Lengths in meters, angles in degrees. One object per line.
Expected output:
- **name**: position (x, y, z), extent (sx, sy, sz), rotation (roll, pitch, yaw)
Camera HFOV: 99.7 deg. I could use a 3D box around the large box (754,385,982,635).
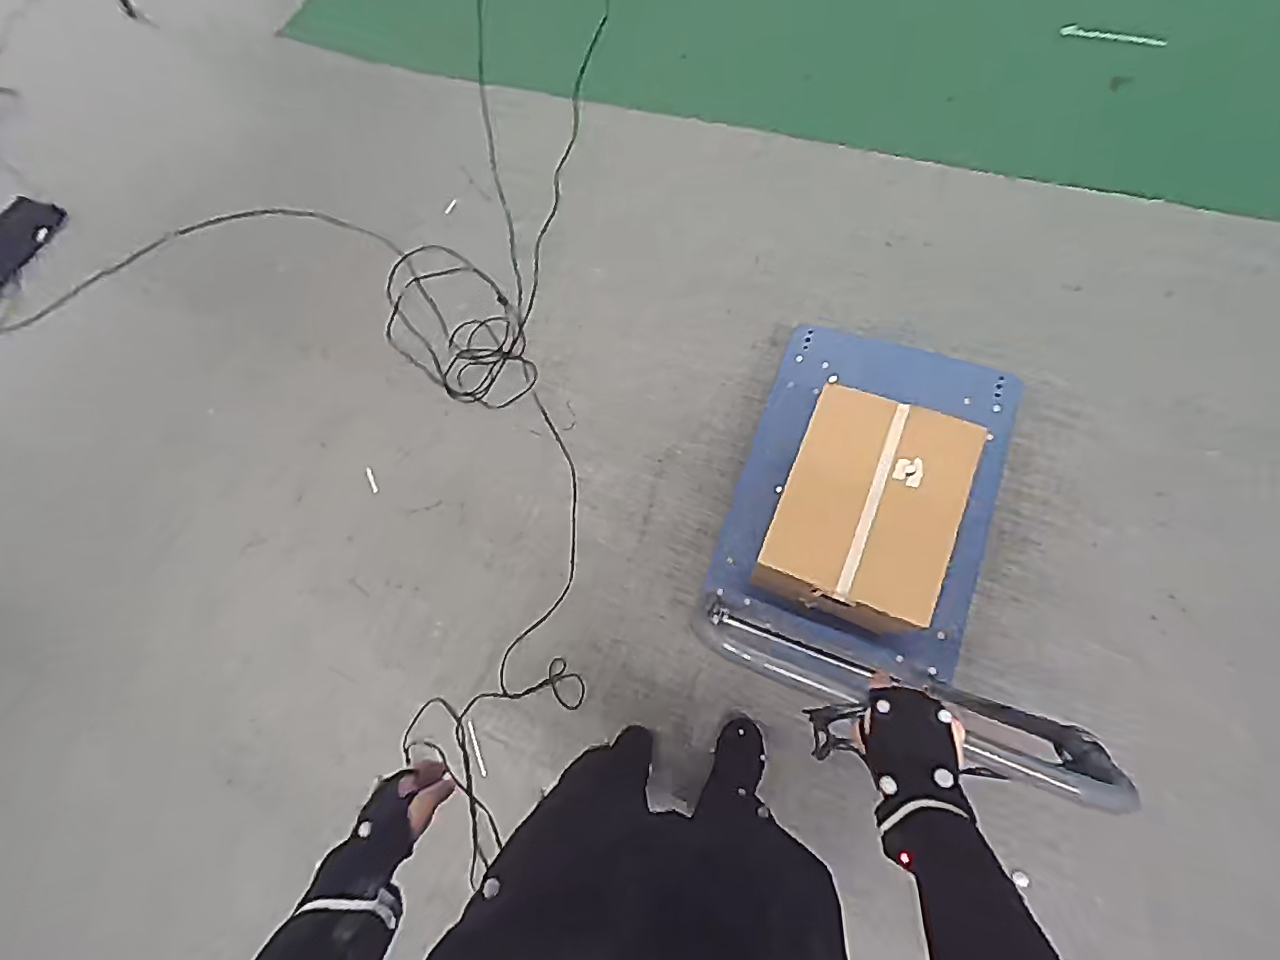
- **large box**: position (0.457, 0.078, 1.153), extent (0.320, 0.320, 0.408), rotation (21, 77, 14)
